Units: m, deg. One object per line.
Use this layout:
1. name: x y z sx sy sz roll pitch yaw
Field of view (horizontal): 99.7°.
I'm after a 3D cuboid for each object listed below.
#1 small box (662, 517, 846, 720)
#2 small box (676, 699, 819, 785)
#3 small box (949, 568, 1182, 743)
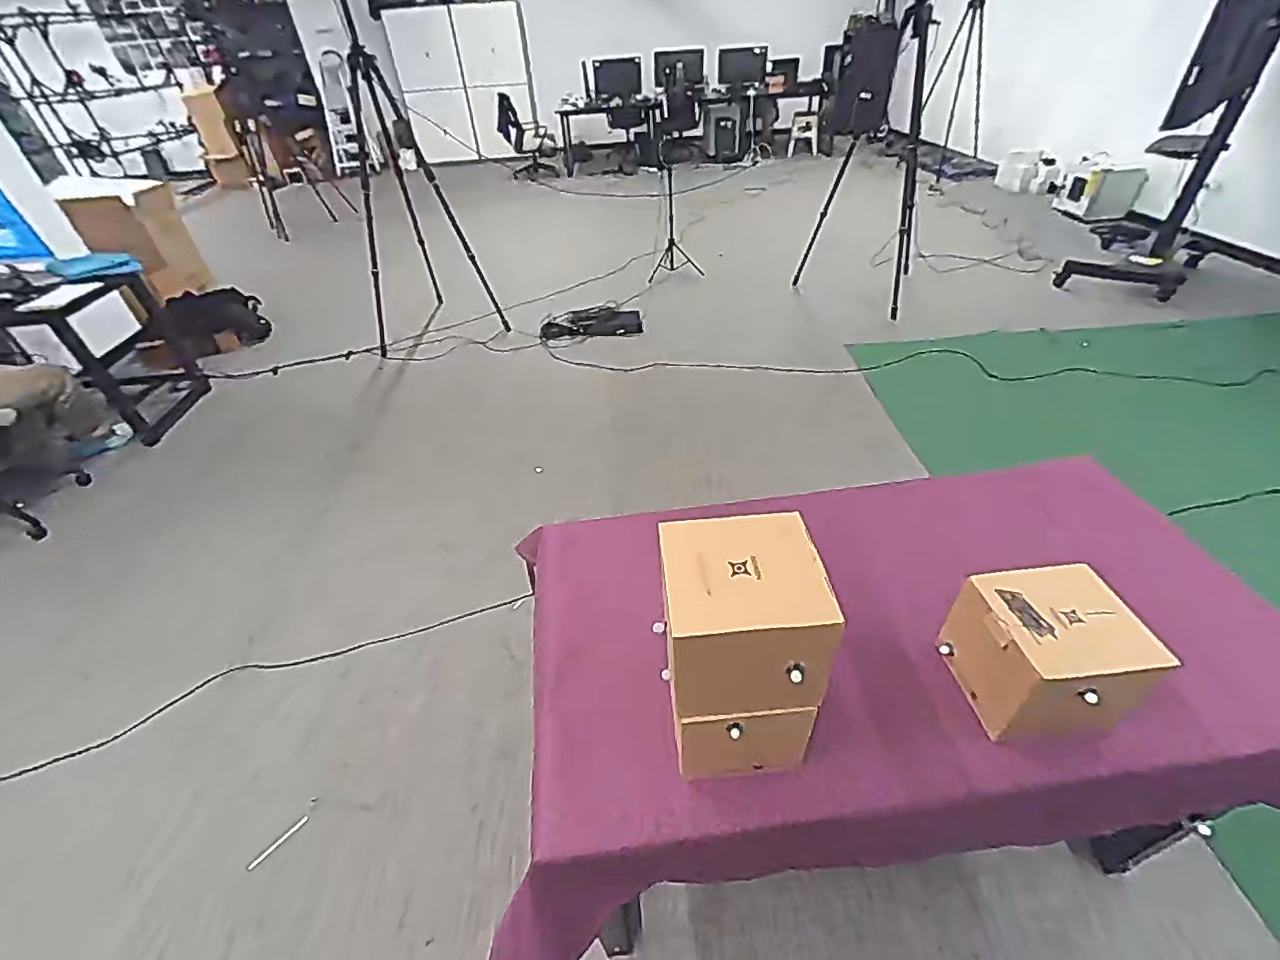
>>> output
1. small box: 0.121 0.165 0.646 0.179 0.176 0.168 -5 39 1
2. small box: 0.131 0.291 0.751 0.168 0.176 0.179 -6 39 0
3. small box: 0.565 0.247 0.756 0.179 0.176 0.168 -6 40 -1
